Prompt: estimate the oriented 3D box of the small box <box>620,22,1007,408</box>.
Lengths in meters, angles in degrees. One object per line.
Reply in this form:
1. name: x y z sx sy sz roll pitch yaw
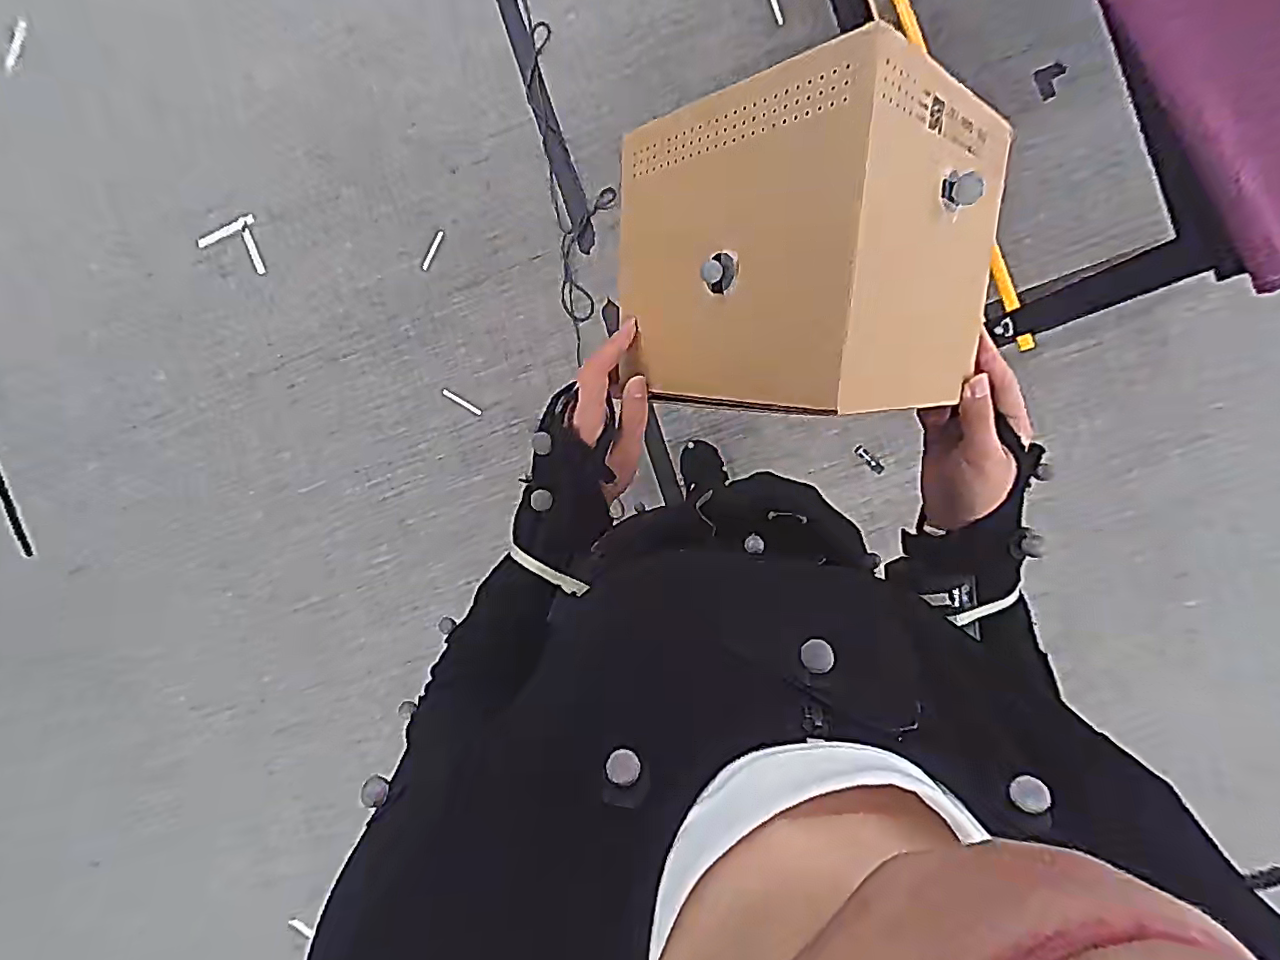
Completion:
1. small box: 0.105 -0.141 0.354 0.179 0.168 0.176 16 110 48
